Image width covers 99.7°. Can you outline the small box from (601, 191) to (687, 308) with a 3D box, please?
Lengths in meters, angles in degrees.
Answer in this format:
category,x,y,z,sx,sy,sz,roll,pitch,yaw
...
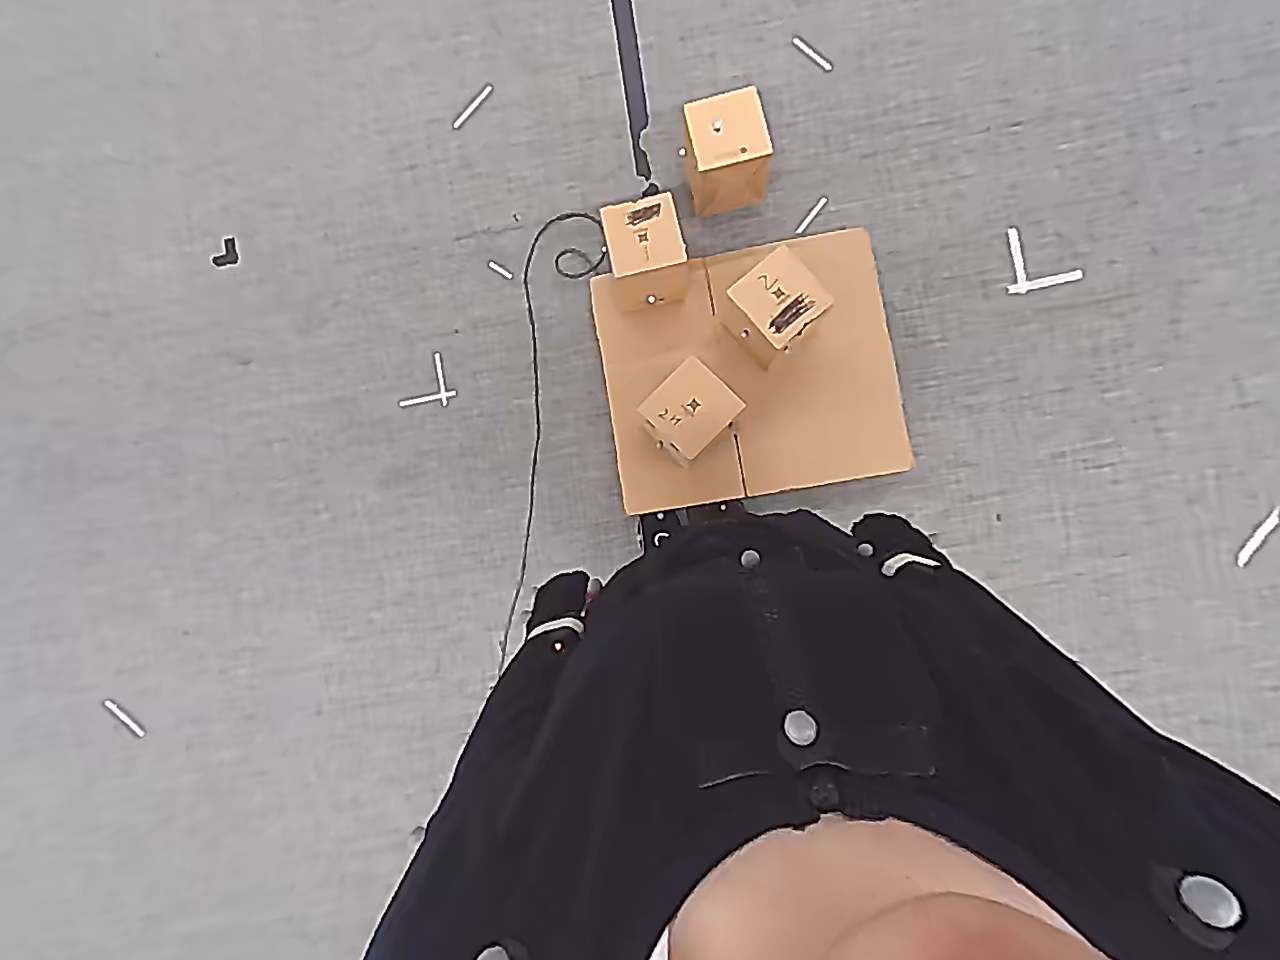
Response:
category,x,y,z,sx,sy,sz,roll,pitch,yaw
small box,0.011,-0.537,1.276,0.168,0.176,0.179,-12,82,2

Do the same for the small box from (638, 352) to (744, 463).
category,x,y,z,sx,sy,sz,roll,pitch,yaw
small box,0.112,-0.160,1.248,0.179,0.176,0.168,-44,85,0
